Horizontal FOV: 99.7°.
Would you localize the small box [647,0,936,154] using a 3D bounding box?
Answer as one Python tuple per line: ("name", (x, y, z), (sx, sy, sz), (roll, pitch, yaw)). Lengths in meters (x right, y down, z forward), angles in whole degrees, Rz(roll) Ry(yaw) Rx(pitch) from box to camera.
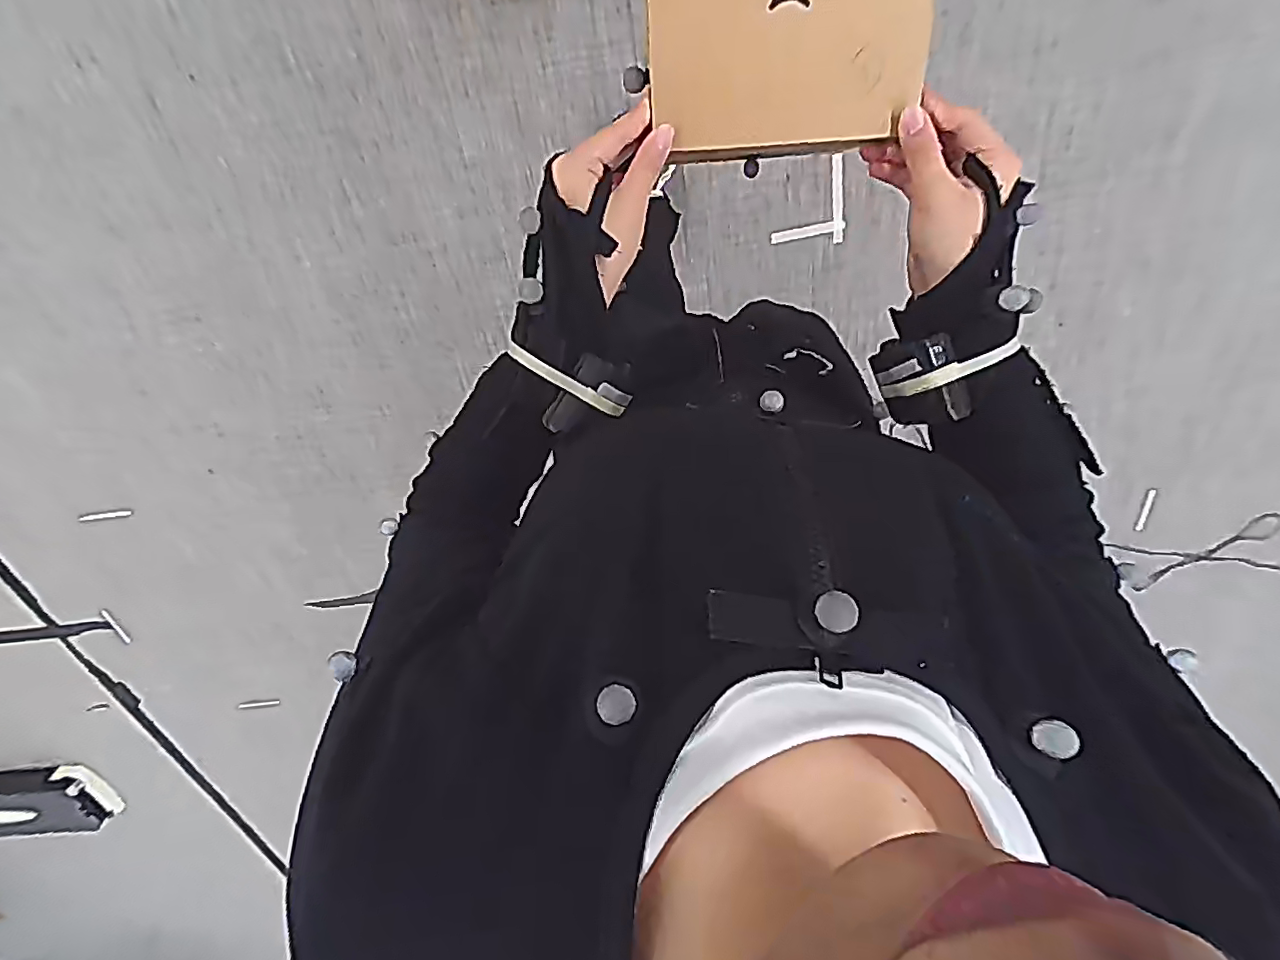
("small box", (0.088, -0.329, 0.370), (0.168, 0.176, 0.179), (-2, 118, 2))
